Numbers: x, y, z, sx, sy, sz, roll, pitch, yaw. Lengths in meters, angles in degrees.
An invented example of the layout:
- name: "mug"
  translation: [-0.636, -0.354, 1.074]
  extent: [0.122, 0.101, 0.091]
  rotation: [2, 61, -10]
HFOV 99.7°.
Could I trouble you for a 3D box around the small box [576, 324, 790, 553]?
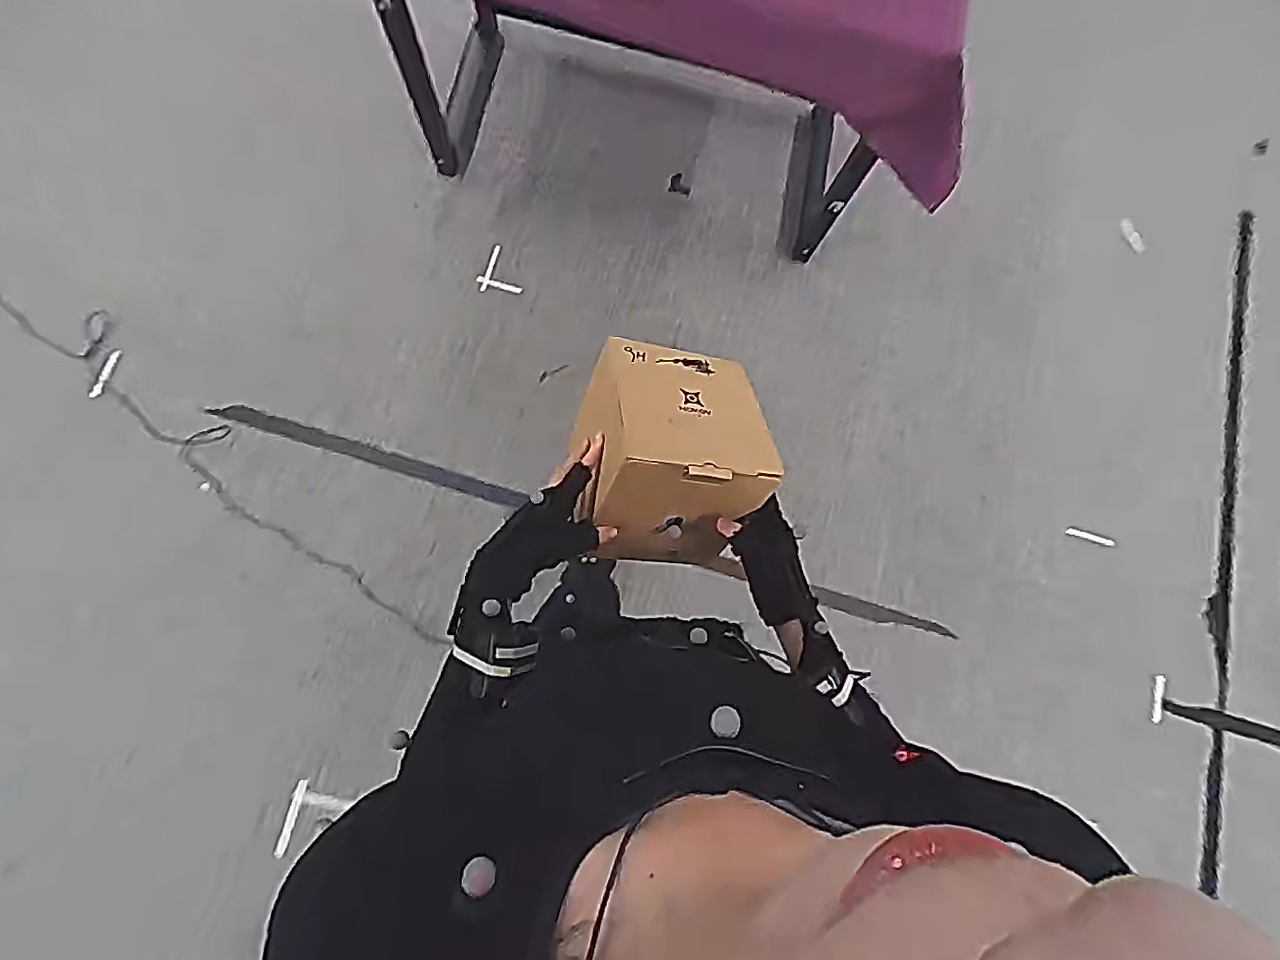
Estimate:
- name: "small box"
  translation: [0.031, -0.036, 0.590]
  extent: [0.168, 0.176, 0.179]
  rotation: [7, 50, -20]
